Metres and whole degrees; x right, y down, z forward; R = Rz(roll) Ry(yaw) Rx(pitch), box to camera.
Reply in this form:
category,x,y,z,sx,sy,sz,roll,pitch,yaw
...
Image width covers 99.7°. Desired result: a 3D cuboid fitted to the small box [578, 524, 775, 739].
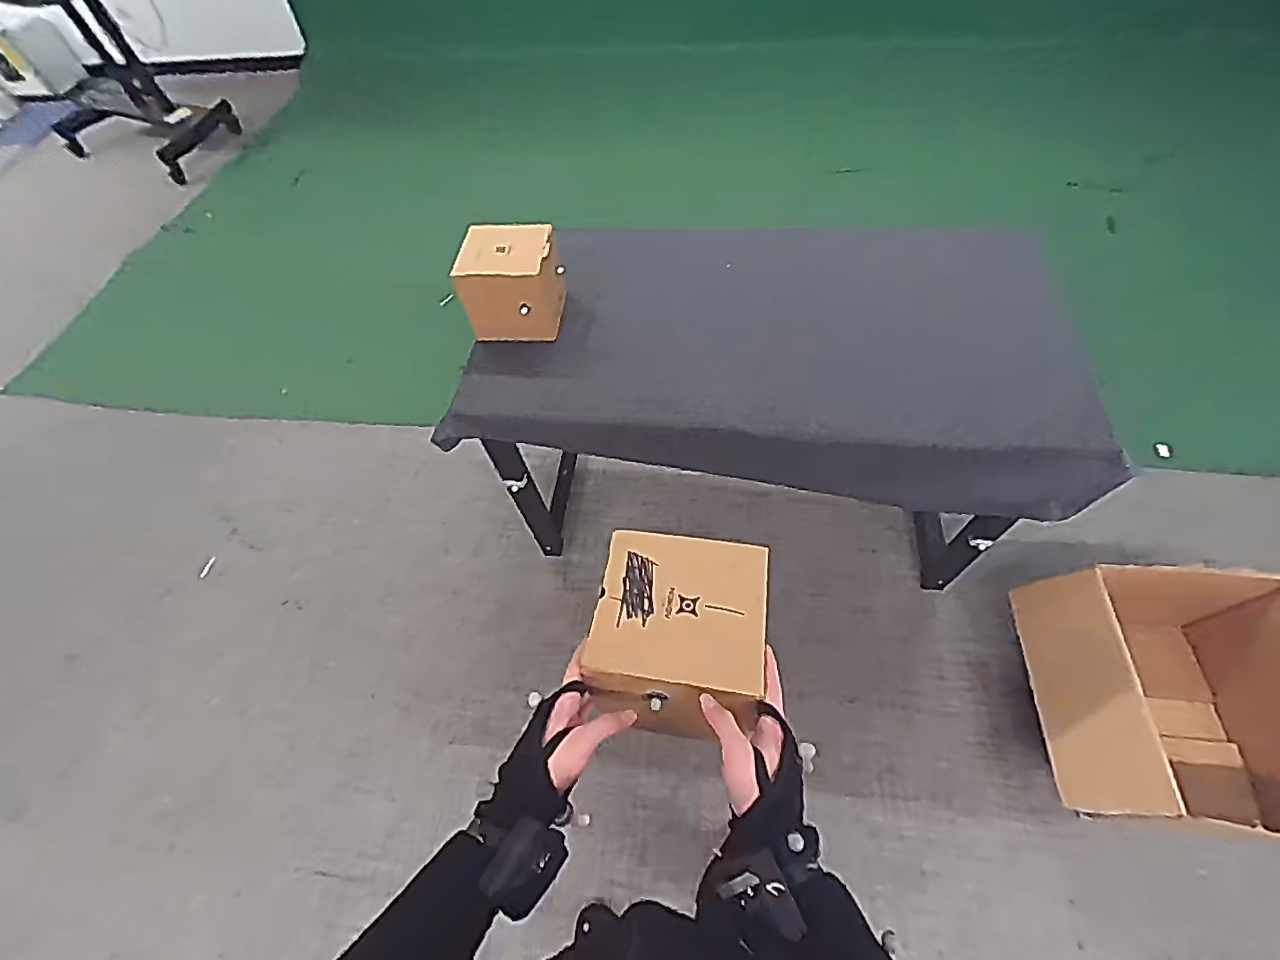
category,x,y,z,sx,sy,sz,roll,pitch,yaw
small box,0.047,0.173,0.611,0.179,0.176,0.168,9,53,11

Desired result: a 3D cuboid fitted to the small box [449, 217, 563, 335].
category,x,y,z,sx,sy,sz,roll,pitch,yaw
small box,-0.265,-0.419,1.124,0.179,0.176,0.168,1,57,6
